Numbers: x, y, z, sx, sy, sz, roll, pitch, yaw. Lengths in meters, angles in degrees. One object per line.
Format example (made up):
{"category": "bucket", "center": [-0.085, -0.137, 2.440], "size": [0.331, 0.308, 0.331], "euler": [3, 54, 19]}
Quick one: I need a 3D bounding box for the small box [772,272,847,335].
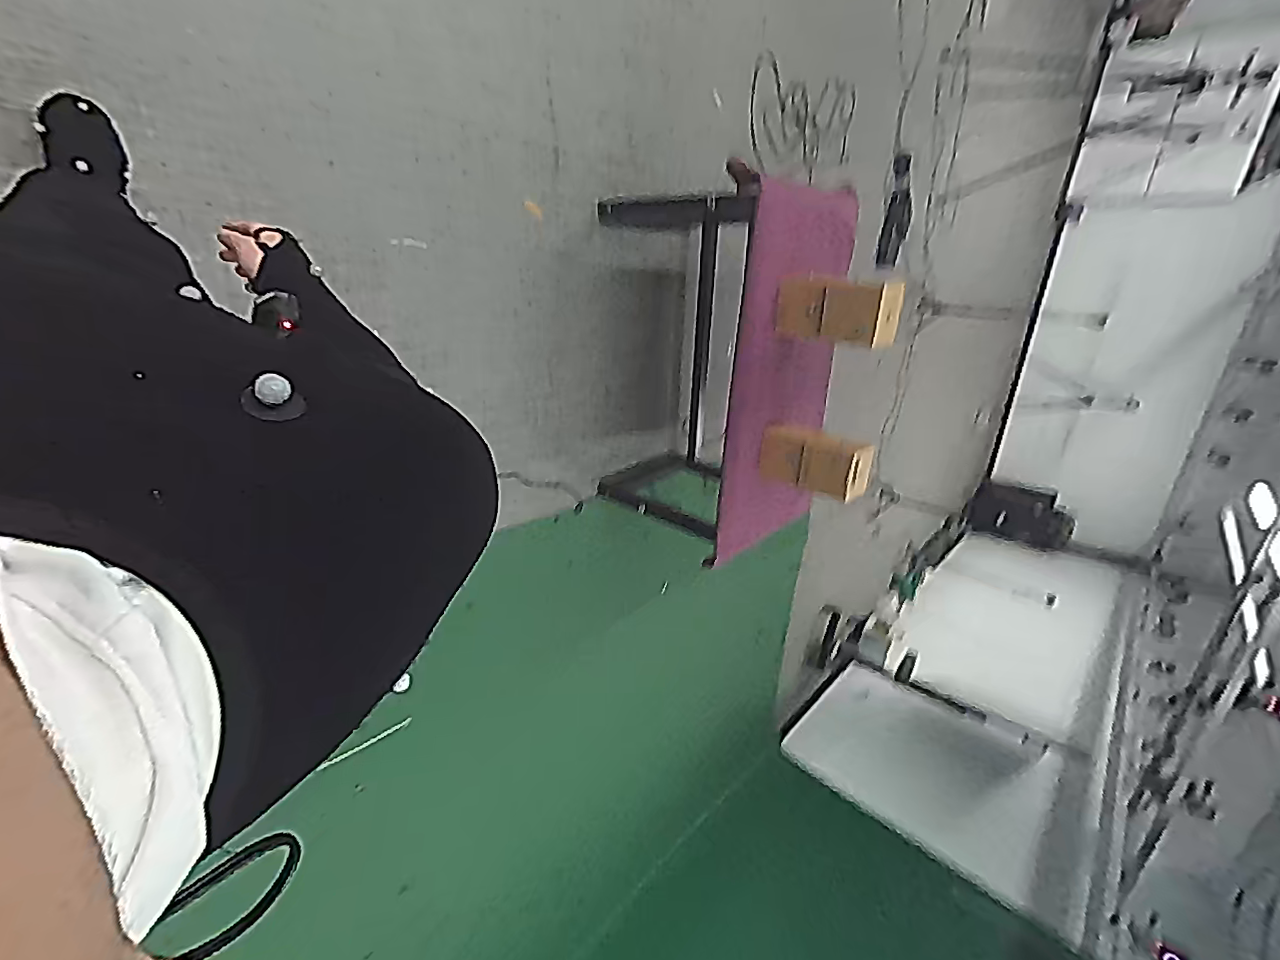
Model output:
{"category": "small box", "center": [0.542, -0.572, 1.738], "size": [0.168, 0.176, 0.179], "euler": [-22, 121, -42]}

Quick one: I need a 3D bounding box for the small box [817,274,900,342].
{"category": "small box", "center": [0.651, -0.520, 1.625], "size": [0.168, 0.176, 0.179], "euler": [-20, 121, -44]}

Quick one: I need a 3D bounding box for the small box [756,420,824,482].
{"category": "small box", "center": [0.530, -0.111, 1.927], "size": [0.168, 0.176, 0.179], "euler": [-17, 119, -45]}
